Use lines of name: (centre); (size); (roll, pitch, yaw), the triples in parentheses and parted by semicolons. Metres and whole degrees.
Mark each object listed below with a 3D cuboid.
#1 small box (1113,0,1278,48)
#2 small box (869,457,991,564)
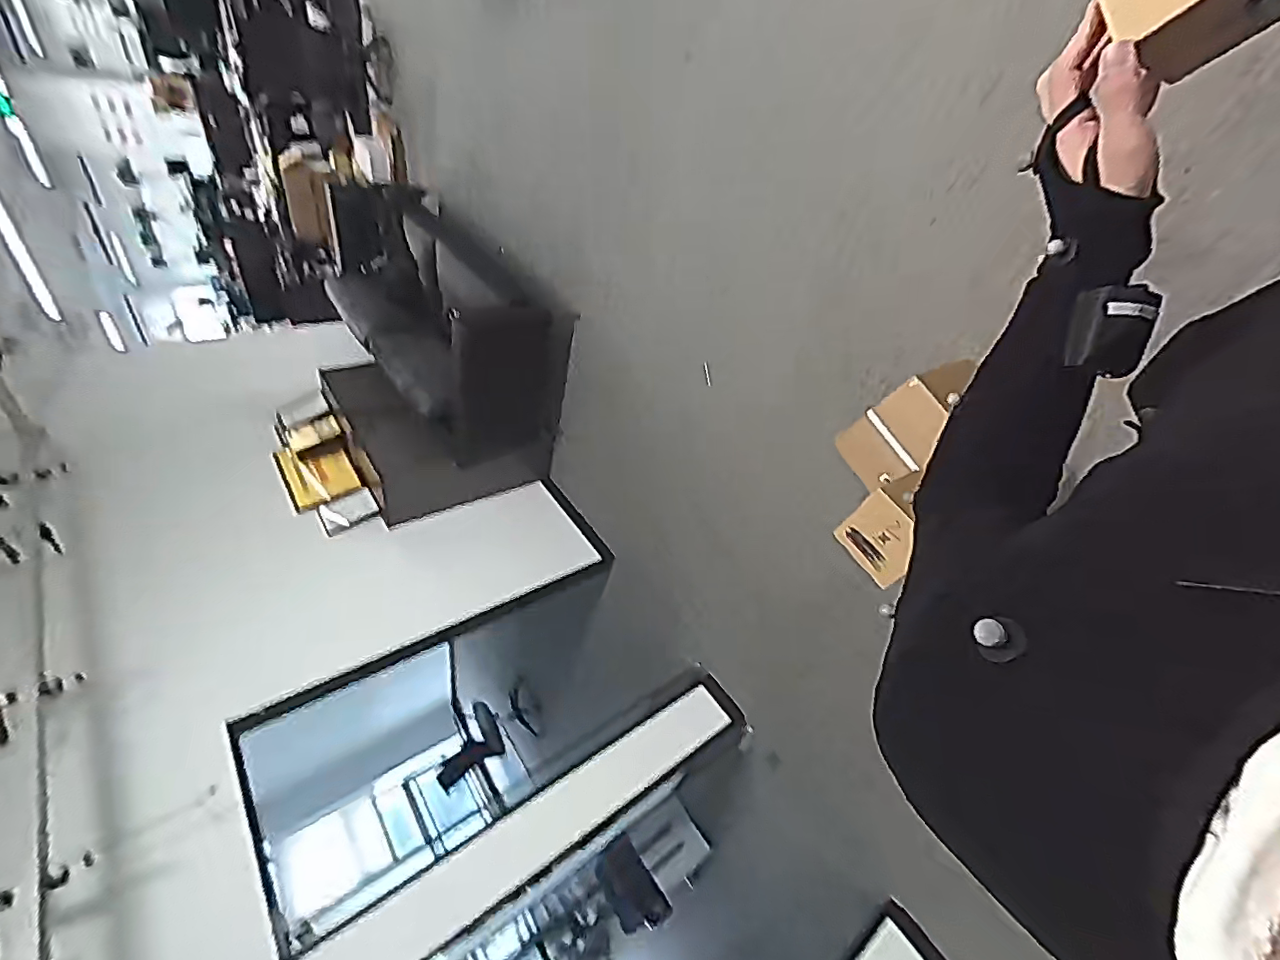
small box: (0.399, -0.414, 0.335); (0.168, 0.176, 0.179); (-19, 91, 55)
small box: (0.703, 0.067, 1.301); (0.168, 0.176, 0.179); (54, 141, 24)
